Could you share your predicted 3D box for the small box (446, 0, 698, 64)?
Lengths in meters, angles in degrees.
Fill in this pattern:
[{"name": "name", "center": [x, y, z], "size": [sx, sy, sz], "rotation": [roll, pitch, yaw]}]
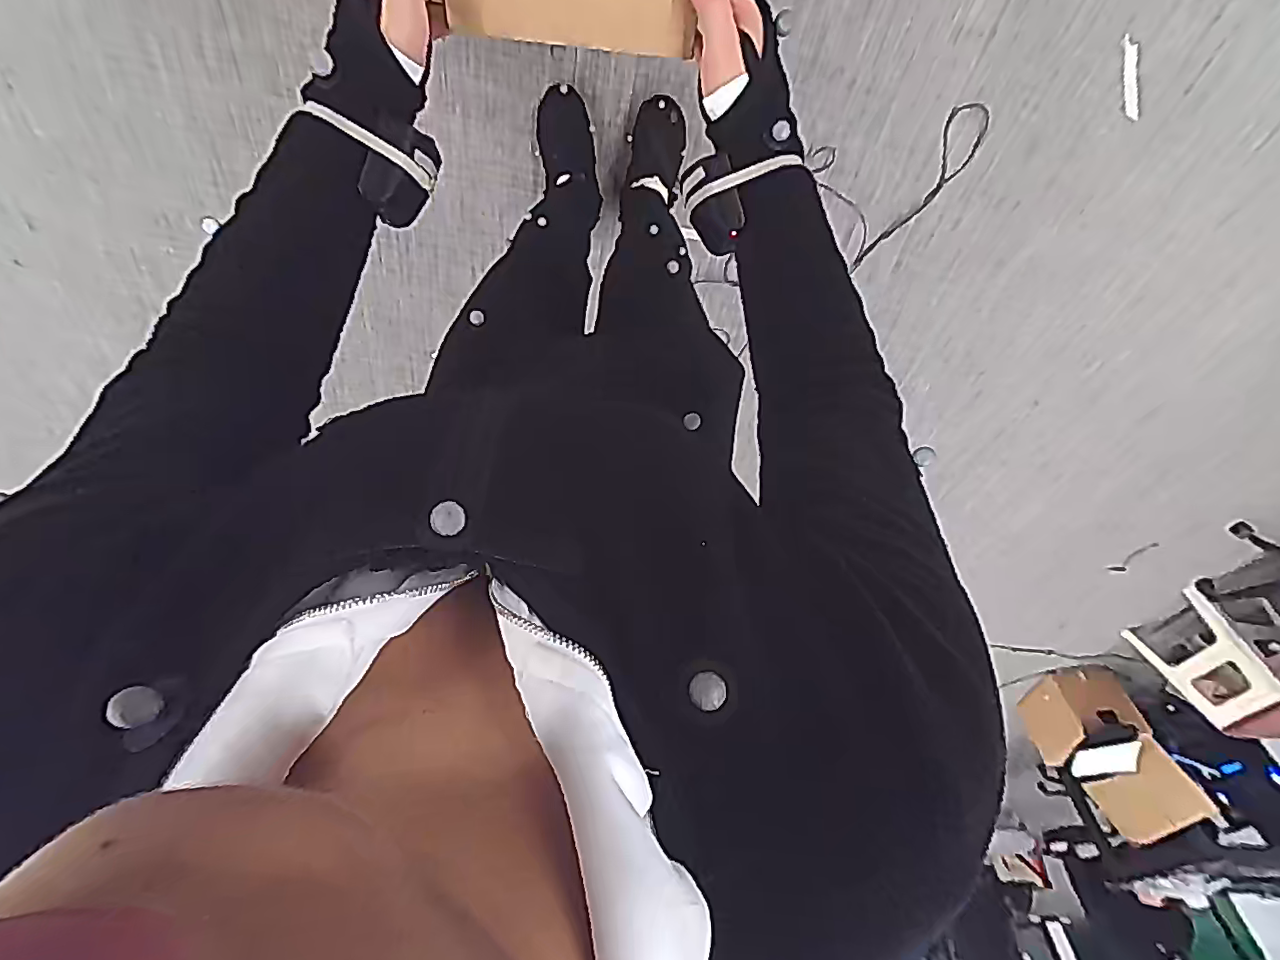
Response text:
[{"name": "small box", "center": [-0.043, -0.426, 0.393], "size": [0.179, 0.176, 0.168], "rotation": [3, 135, -6]}]
